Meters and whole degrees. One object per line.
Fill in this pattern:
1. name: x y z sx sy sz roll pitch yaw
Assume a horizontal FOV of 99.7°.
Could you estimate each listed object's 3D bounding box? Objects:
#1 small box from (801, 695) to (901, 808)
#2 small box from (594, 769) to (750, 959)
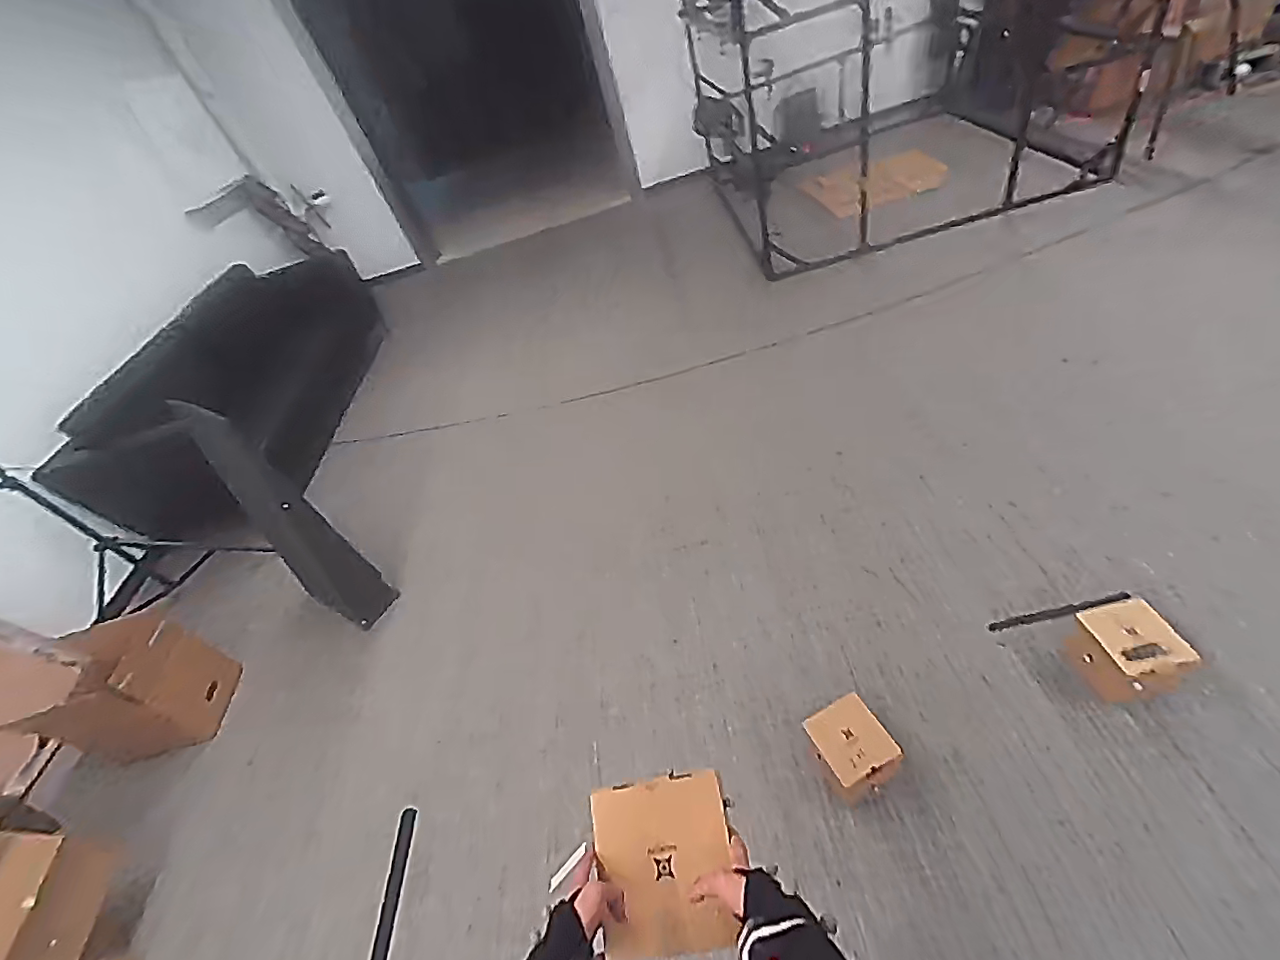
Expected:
1. small box: 0.533 0.693 1.378 0.168 0.176 0.179 -27 42 -7
2. small box: 0.045 0.488 0.707 0.168 0.176 0.179 -11 61 4
